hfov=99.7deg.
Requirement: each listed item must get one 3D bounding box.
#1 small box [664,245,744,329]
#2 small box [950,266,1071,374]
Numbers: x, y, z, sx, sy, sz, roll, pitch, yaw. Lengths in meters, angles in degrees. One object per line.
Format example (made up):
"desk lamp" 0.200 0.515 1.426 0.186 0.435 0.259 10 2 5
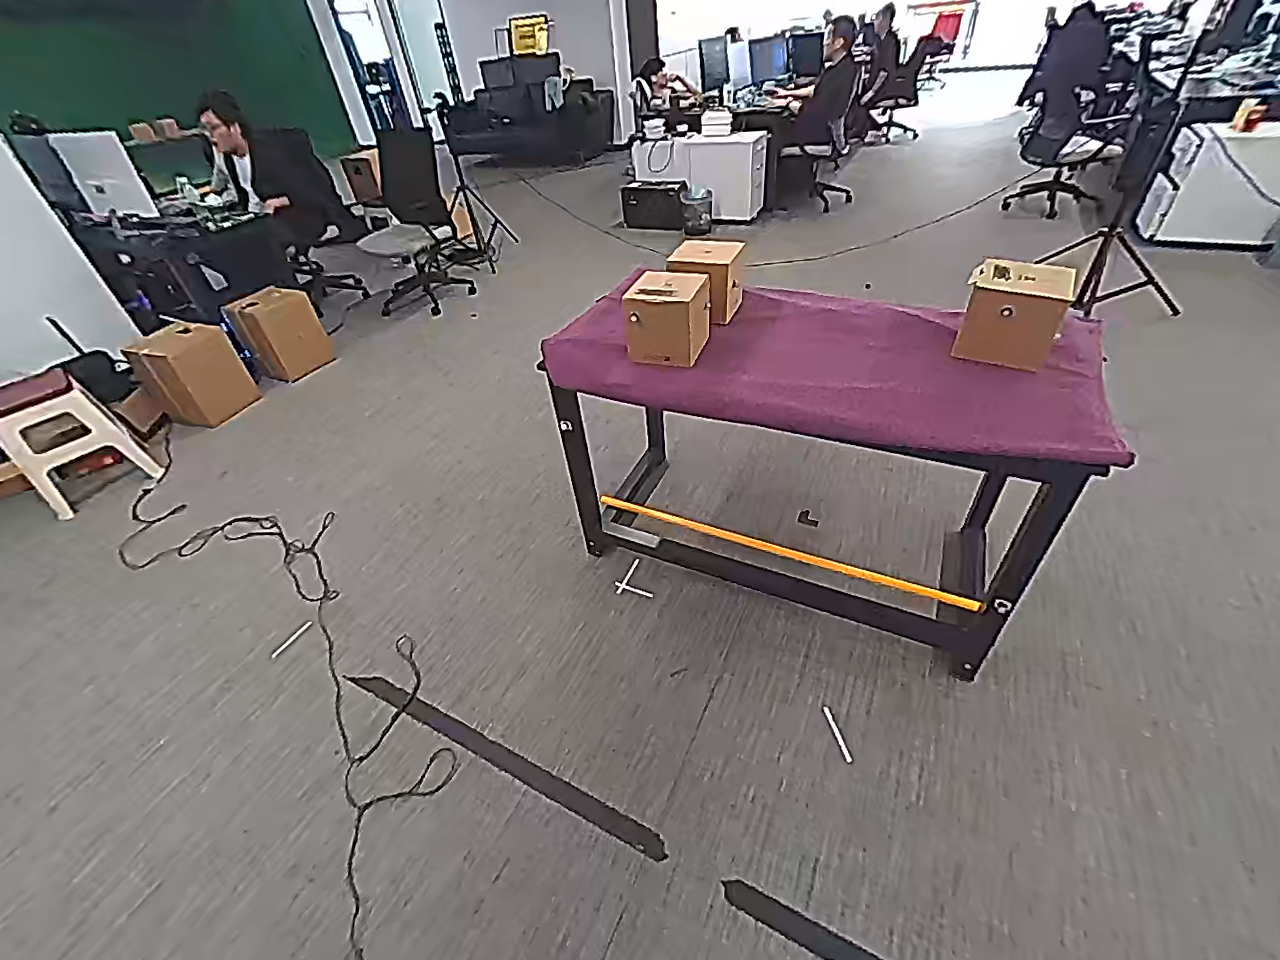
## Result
"small box" 0.180 -0.537 1.507 0.179 0.176 0.168 12 43 20
"small box" 0.821 -0.358 1.209 0.179 0.176 0.168 20 49 26
